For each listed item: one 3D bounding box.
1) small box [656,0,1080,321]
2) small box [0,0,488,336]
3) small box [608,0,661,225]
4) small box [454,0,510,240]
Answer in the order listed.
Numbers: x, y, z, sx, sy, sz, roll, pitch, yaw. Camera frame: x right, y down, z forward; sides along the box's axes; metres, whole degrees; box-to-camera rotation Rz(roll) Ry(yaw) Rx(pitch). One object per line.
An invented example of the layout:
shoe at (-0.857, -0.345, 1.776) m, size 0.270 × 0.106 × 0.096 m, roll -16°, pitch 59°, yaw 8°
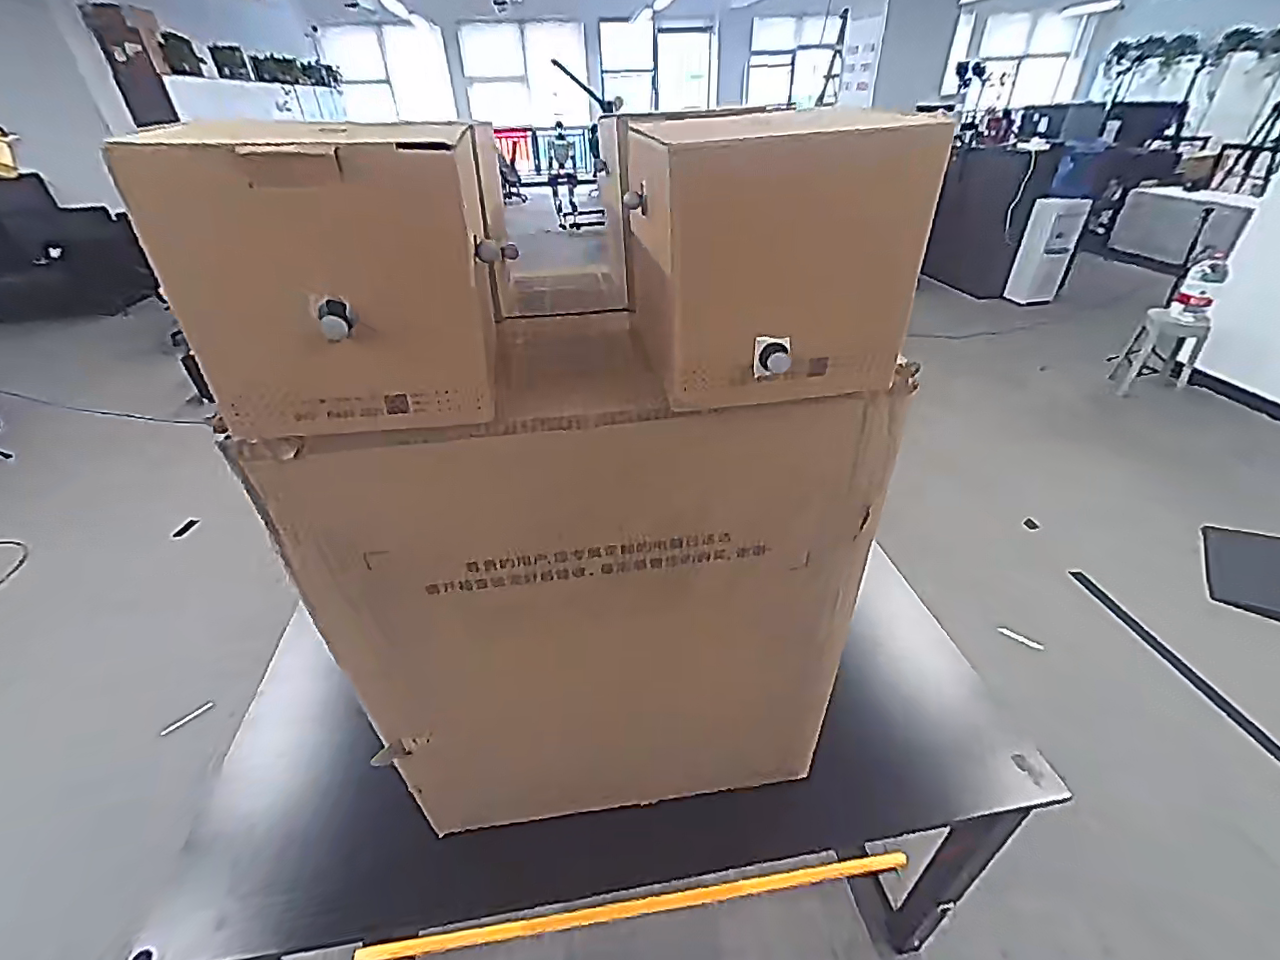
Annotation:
small box at (0.104, -0.211, 0.329) m, size 0.168 × 0.176 × 0.179 m, roll -9°, pitch 38°, yaw -5°
small box at (-0.179, -0.187, 0.301) m, size 0.168 × 0.176 × 0.179 m, roll -6°, pitch 38°, yaw -12°
small box at (0.064, -0.340, 0.504) m, size 0.168 × 0.176 × 0.179 m, roll -8°, pitch 33°, yaw -6°
small box at (-0.217, -0.301, 0.466) m, size 0.179 × 0.176 × 0.168 m, roll -4°, pitch 34°, yaw -6°
